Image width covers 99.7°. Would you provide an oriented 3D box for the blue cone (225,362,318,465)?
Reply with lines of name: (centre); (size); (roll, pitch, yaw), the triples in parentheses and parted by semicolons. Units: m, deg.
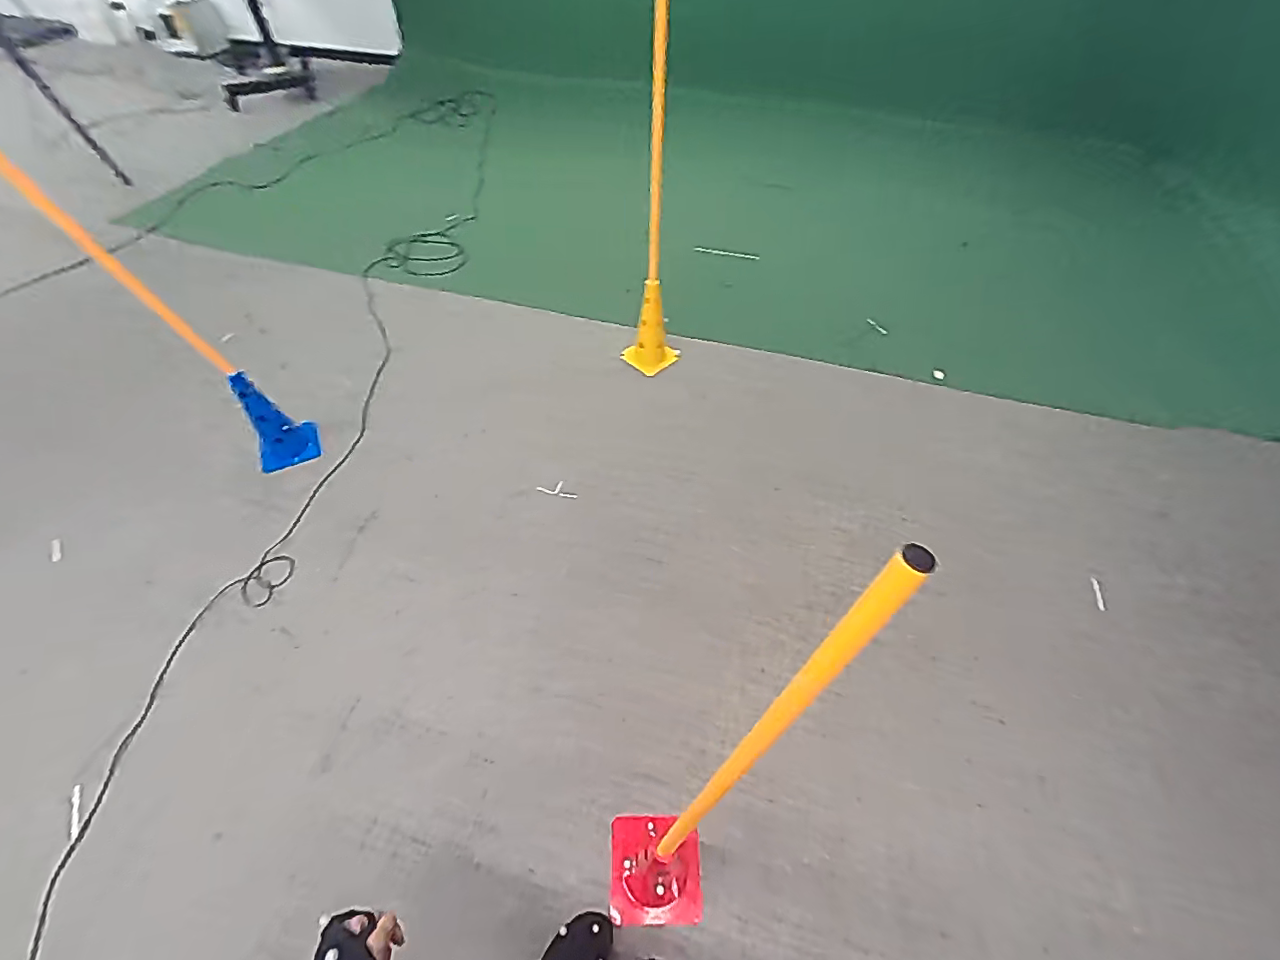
blue cone: (-1.279, -0.241, 1.837); (0.193, 0.380, 0.192); (-24, 57, -17)
